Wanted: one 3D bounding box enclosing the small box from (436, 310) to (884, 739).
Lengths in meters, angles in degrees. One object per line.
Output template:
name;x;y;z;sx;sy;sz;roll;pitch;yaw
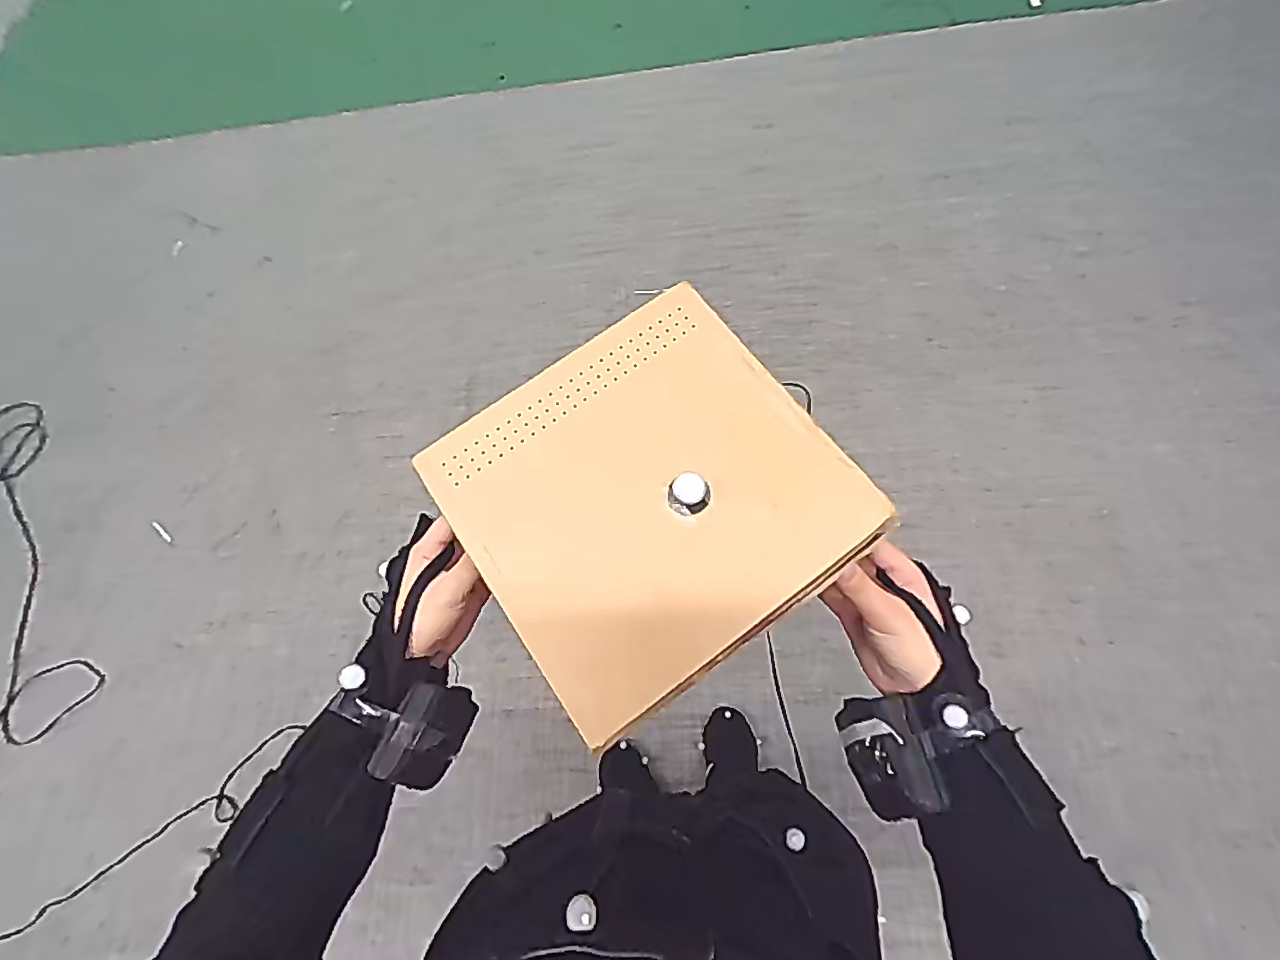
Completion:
small box;0.008;0.028;0.348;0.179;0.168;0.176;-36;73;-8
